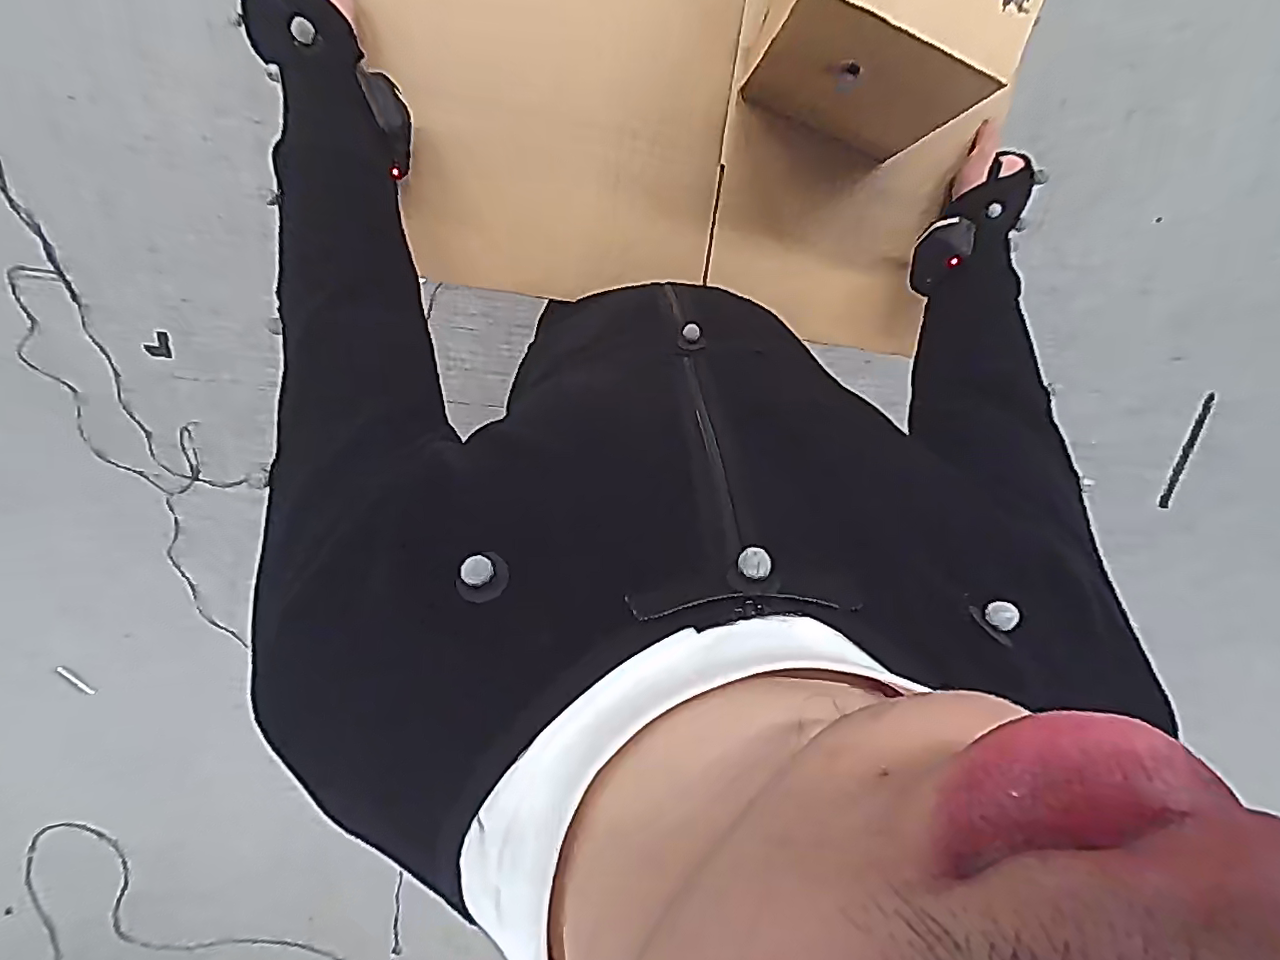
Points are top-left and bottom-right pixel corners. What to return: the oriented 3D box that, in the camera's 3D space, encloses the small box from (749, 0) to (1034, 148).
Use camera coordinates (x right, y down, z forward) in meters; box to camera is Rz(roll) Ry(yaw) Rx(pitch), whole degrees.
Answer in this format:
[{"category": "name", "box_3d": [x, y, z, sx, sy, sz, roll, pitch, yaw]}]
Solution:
[{"category": "small box", "box_3d": [0.216, -0.425, 0.469, 0.179, 0.176, 0.168, 16, 101, -9]}]
